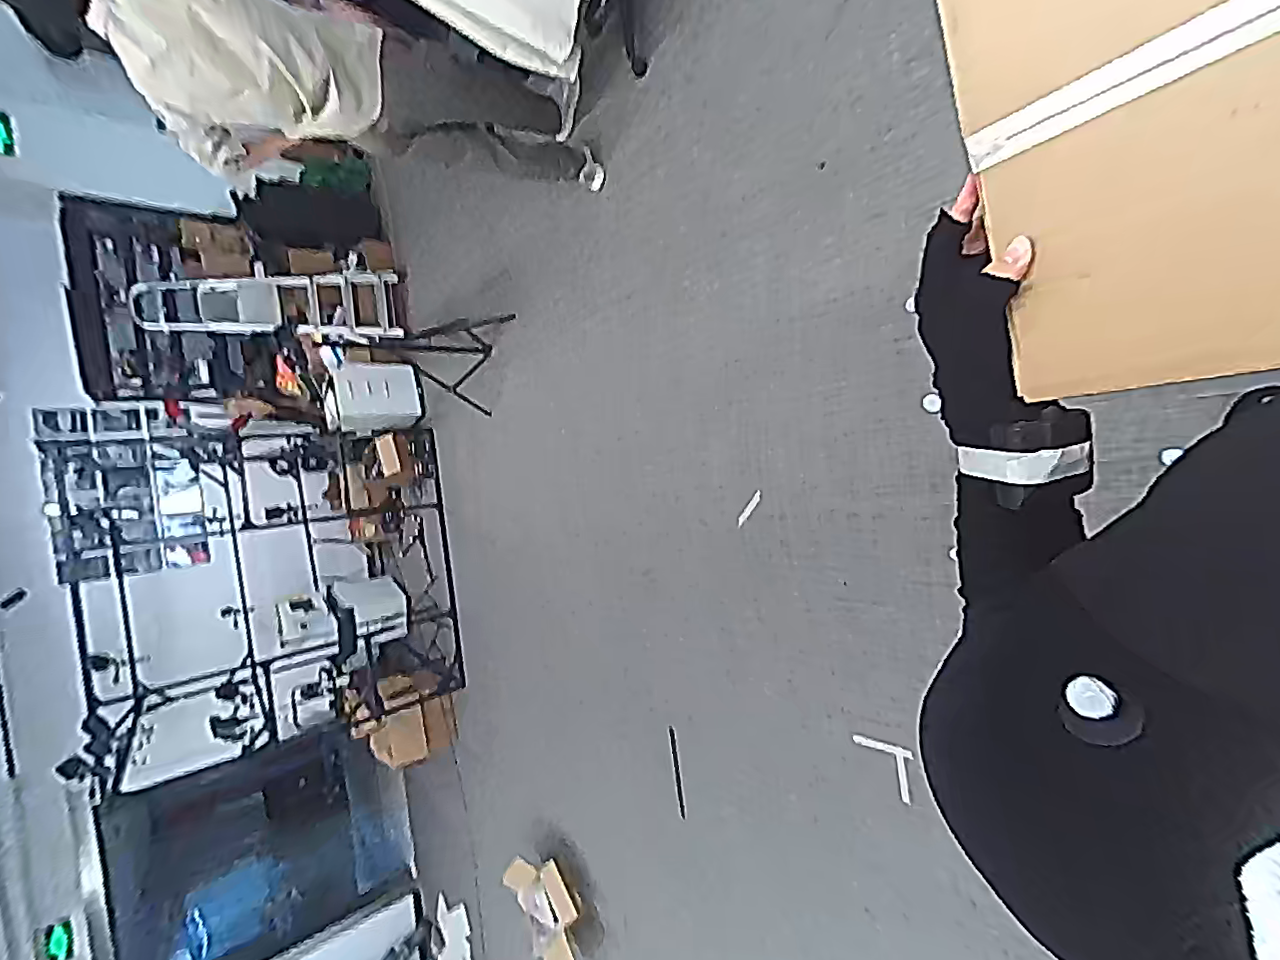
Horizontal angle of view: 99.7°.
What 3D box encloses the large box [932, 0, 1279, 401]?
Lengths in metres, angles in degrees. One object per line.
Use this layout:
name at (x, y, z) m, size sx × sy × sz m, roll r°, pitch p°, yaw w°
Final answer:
large box at (0.433, -0.259, 0.265) m, size 0.408 × 0.320 × 0.320 m, roll -6°, pitch 107°, yaw 53°
